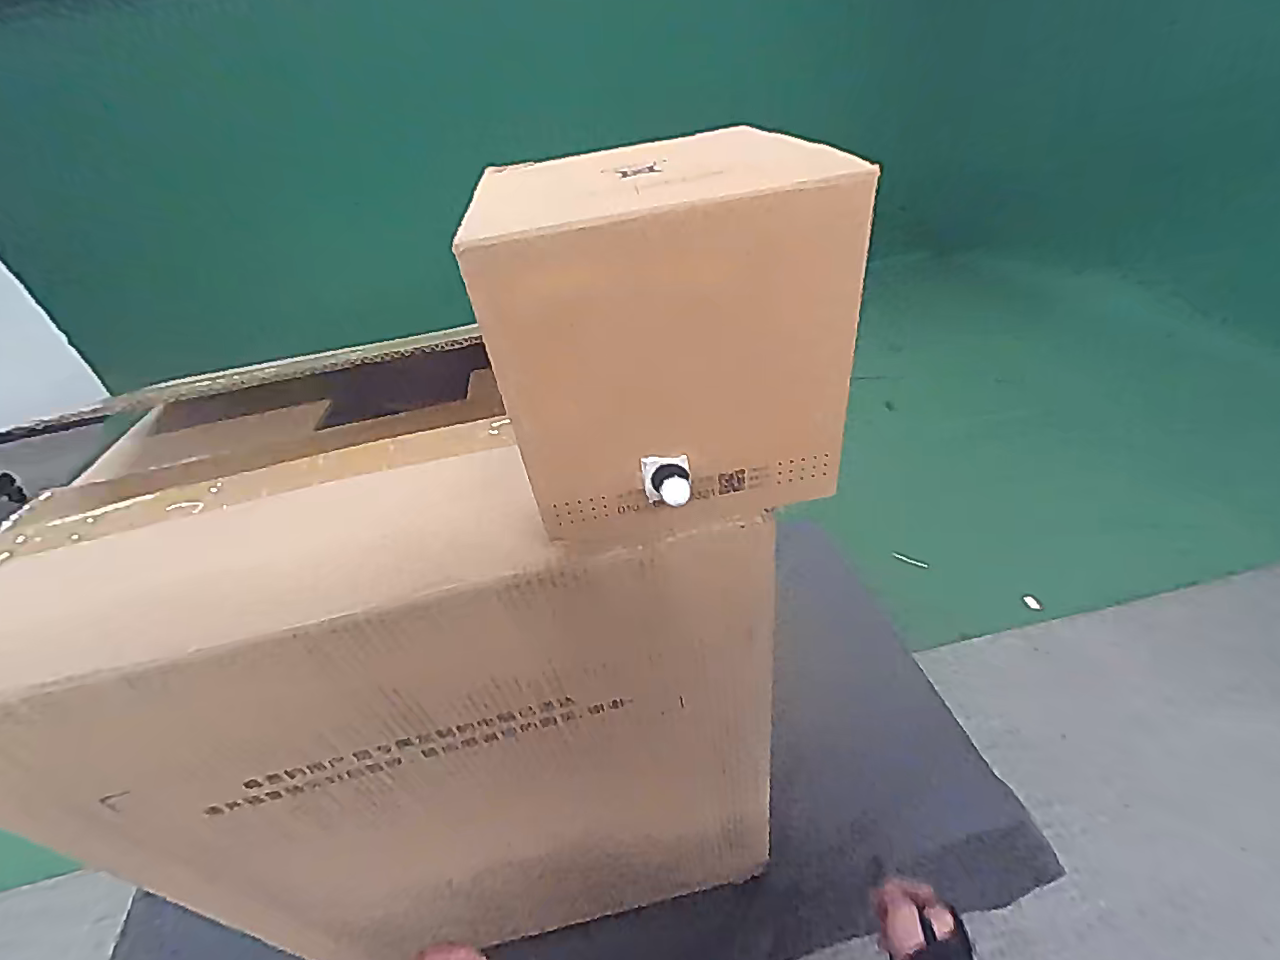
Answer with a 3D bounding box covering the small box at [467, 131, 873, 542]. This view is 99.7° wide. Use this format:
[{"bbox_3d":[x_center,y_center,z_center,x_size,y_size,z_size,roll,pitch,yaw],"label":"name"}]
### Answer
[{"bbox_3d":[0.009,-0.092,0.324,0.168,0.176,0.179,-13,39,-4],"label":"small box"}]
